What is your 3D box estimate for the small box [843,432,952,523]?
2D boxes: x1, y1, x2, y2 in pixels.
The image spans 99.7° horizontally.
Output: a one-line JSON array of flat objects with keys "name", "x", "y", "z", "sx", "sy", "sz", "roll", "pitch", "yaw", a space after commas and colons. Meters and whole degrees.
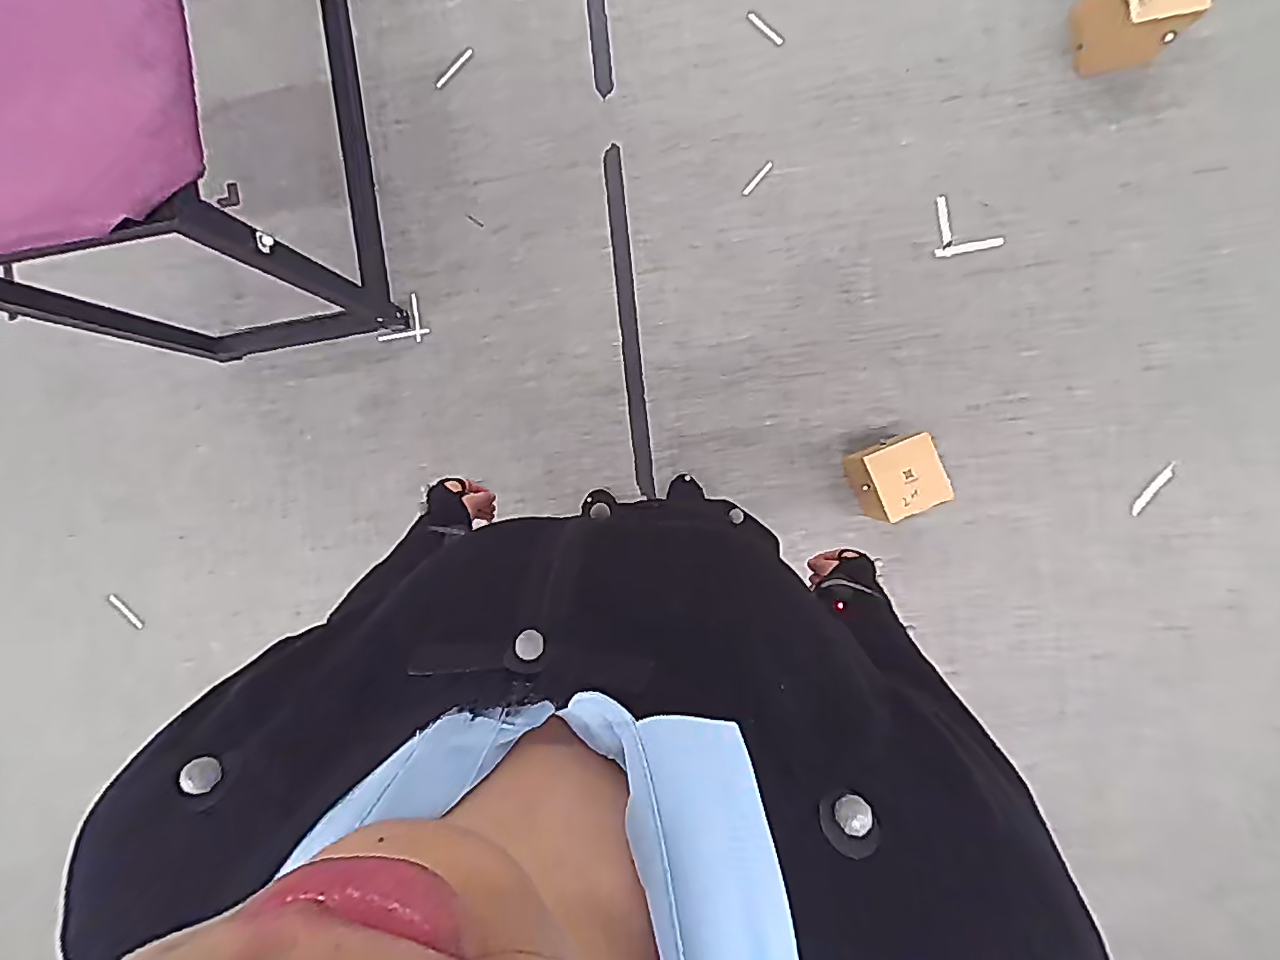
[{"name": "small box", "x": 0.642, "y": -0.006, "z": 1.372, "sx": 0.168, "sy": 0.176, "sz": 0.179, "roll": -23, "pitch": 90, "yaw": 4}]
